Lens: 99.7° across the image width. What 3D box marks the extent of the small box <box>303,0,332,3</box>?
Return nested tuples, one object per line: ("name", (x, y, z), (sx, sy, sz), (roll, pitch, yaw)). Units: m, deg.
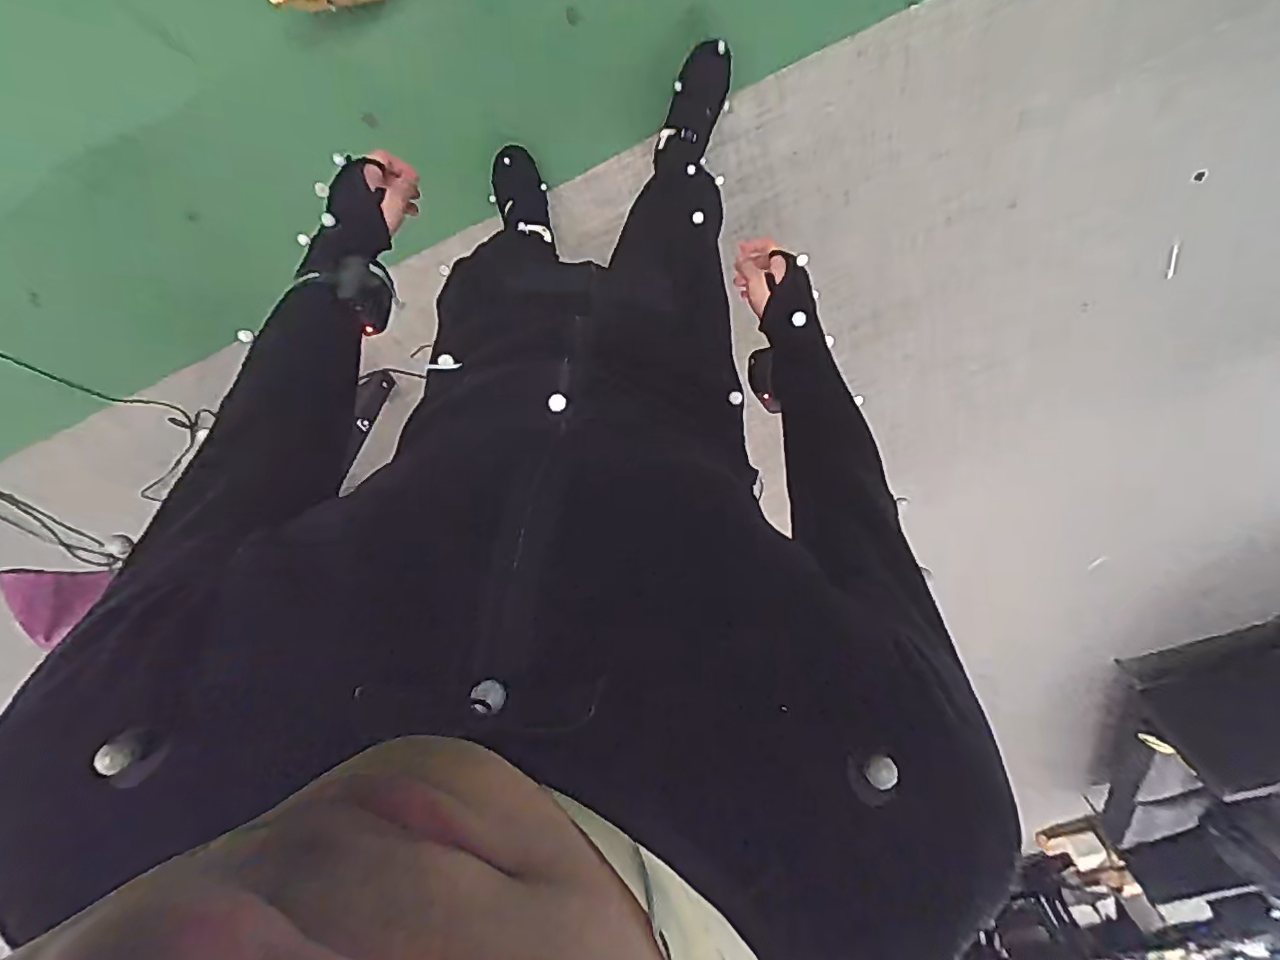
("small box", (-0.581, -0.971, 0.952), (0.168, 0.176, 0.179), (-9, 130, 1))
